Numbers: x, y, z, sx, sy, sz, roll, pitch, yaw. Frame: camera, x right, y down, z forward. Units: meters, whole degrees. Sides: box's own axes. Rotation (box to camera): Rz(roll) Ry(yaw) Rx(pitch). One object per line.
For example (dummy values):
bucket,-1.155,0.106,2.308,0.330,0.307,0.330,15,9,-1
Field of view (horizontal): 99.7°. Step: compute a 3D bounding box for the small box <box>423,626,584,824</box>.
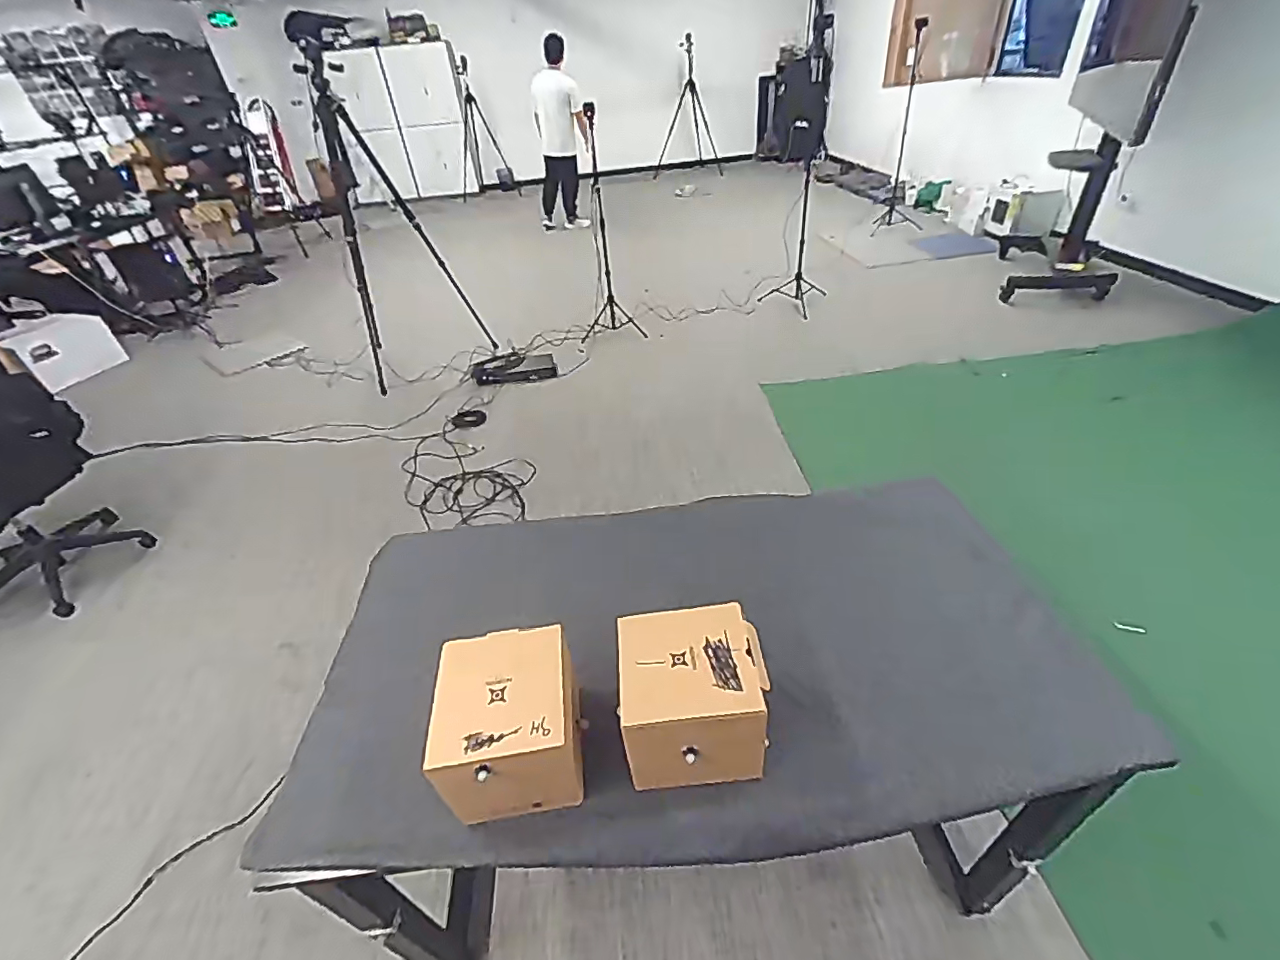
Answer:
small box,-0.171,0.330,0.736,0.168,0.176,0.179,-9,38,-2
